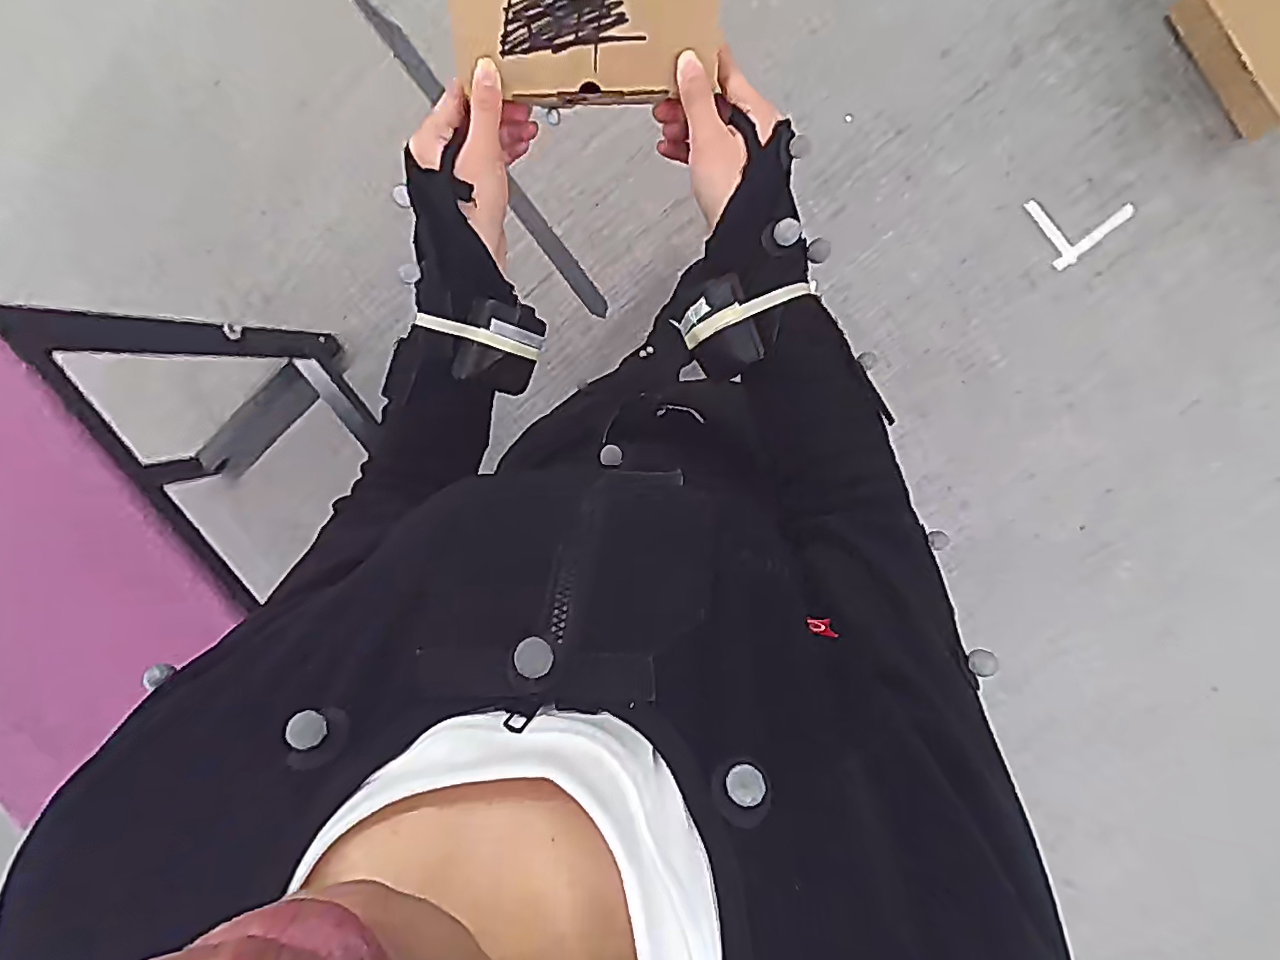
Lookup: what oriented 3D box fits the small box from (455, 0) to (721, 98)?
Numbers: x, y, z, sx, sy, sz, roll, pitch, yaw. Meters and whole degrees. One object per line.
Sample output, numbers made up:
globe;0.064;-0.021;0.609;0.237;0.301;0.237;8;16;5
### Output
small box;-0.026;-0.370;0.368;0.168;0.176;0.179;1;122;3
